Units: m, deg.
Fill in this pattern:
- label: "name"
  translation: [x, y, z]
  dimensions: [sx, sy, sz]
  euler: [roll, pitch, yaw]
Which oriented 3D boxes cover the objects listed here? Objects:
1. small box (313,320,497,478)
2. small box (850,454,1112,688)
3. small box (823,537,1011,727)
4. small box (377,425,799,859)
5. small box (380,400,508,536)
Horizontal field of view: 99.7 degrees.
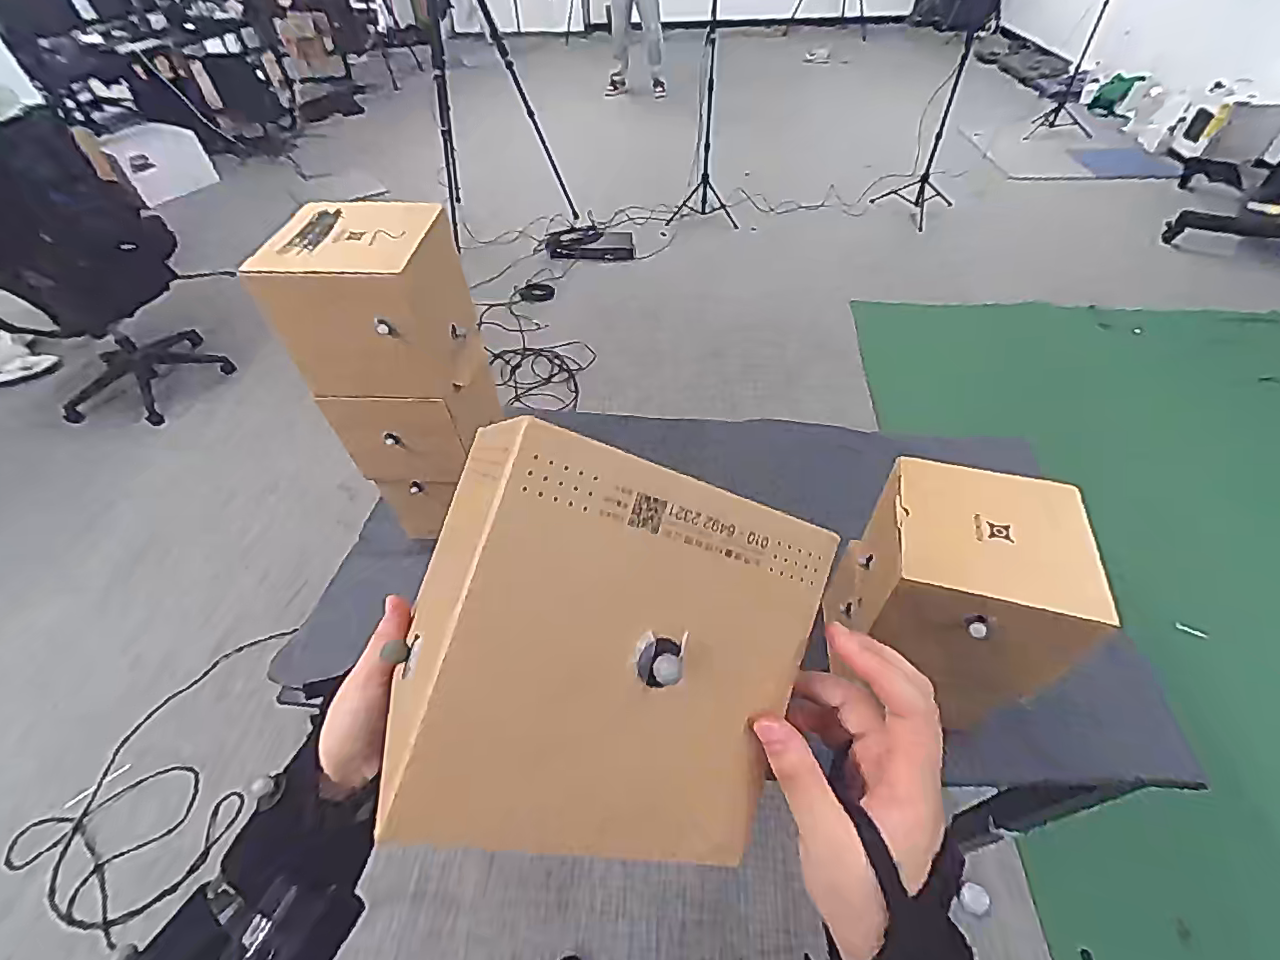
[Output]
- label: "small box"
  translation: [-0.324, -0.115, 0.794]
  dimensions: [0.179, 0.176, 0.168]
  euler: [1, 50, 4]
- label: "small box"
  translation: [0.340, 0.100, 0.579]
  dimensions: [0.179, 0.176, 0.168]
  euler: [11, 49, 14]
- label: "small box"
  translation: [0.346, 0.198, 0.709]
  dimensions: [0.168, 0.176, 0.179]
  euler: [4, 48, 7]
- label: "small box"
  translation: [-0.033, 0.072, 0.309]
  dimensions: [0.168, 0.179, 0.176]
  euler: [20, 87, -22]
- label: "small box"
  translation: [-0.319, -0.020, 0.930]
  dimensions: [0.168, 0.176, 0.179]
  euler: [1, 49, 2]
